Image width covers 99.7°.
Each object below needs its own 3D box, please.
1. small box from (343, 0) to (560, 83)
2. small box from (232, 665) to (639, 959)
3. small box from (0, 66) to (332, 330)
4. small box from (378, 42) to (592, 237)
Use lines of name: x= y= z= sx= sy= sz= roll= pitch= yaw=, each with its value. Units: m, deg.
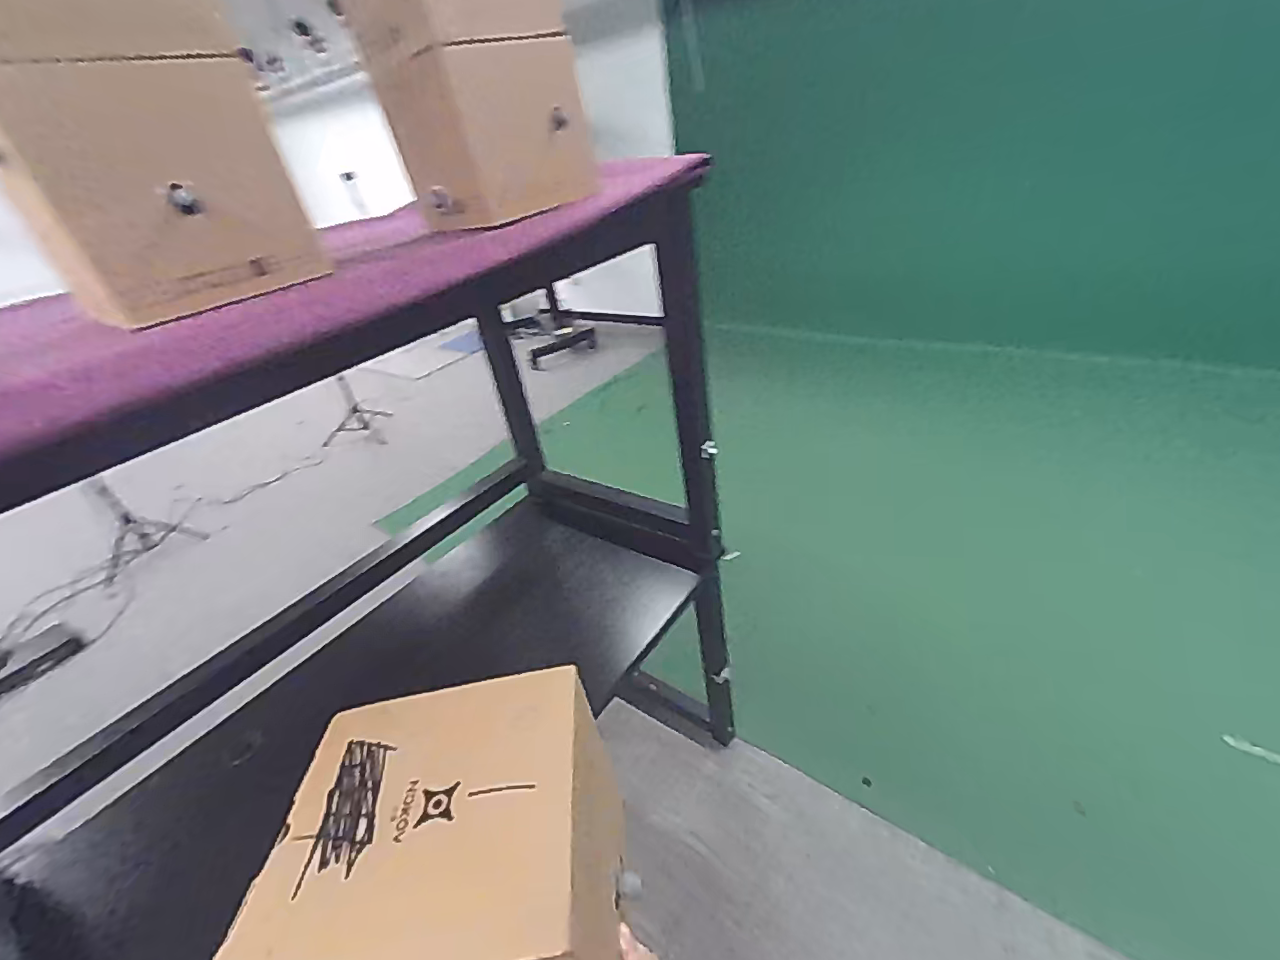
small box: x=-0.215 y=-0.545 z=0.585 sx=0.168 sy=0.176 sz=0.179 roll=20 pitch=45 yaw=42
small box: x=-0.102 y=0.255 z=0.355 sx=0.179 sy=0.176 sz=0.168 roll=-11 pitch=29 yaw=1
small box: x=-0.414 y=-0.240 z=0.475 sx=0.179 sy=0.176 sz=0.168 roll=16 pitch=40 yaw=35
small box: x=-0.177 y=-0.411 z=0.669 sx=0.168 sy=0.176 sz=0.179 roll=17 pitch=44 yaw=40
